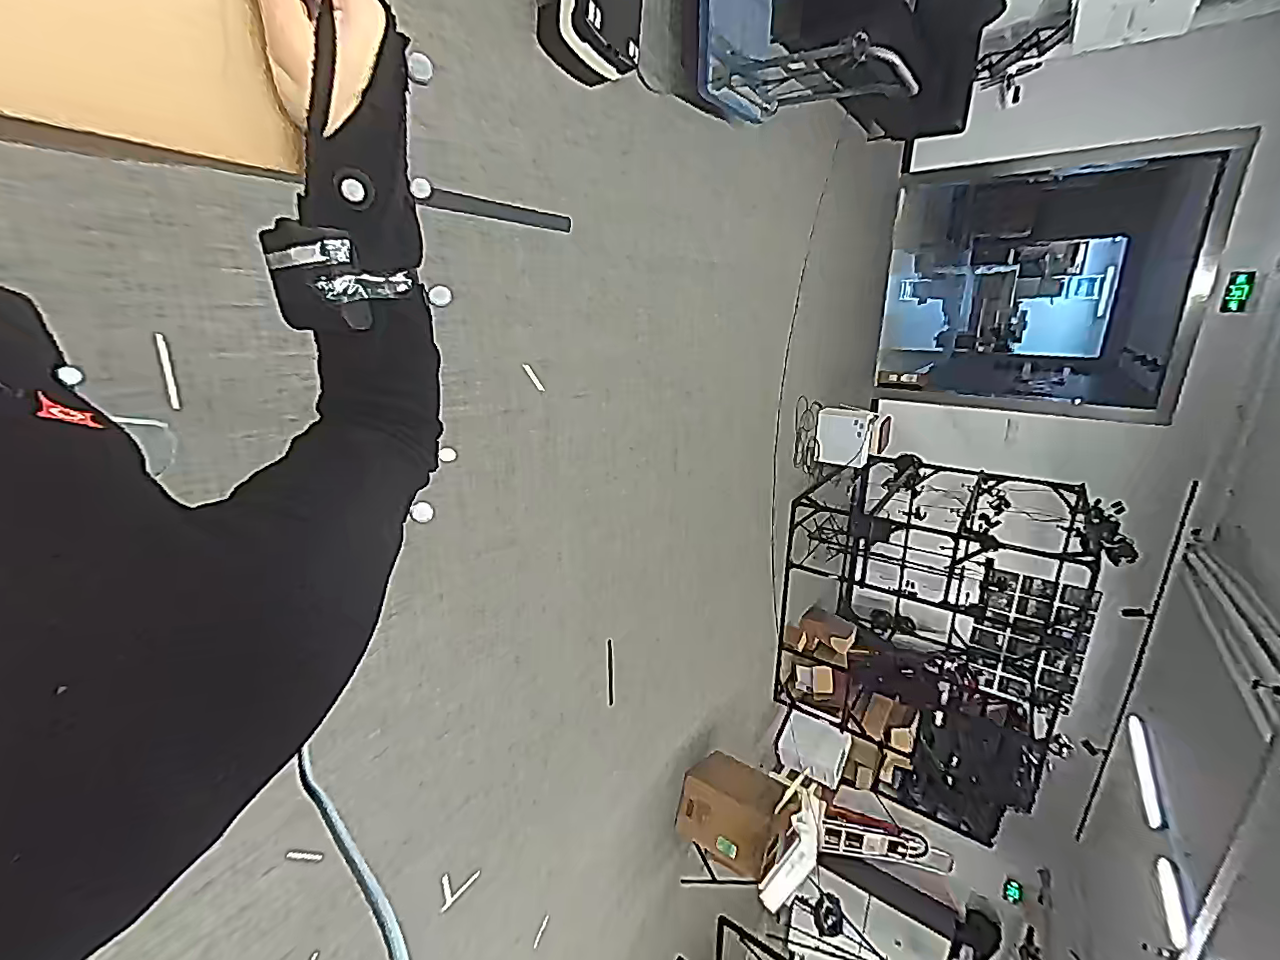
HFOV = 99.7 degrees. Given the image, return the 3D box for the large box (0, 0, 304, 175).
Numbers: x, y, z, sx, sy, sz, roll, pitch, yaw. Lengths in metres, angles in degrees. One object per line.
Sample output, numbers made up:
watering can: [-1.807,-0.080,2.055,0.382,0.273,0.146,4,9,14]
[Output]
large box: [-0.418,-0.320,0.186,0.408,0.320,0.320,-24,129,-53]
